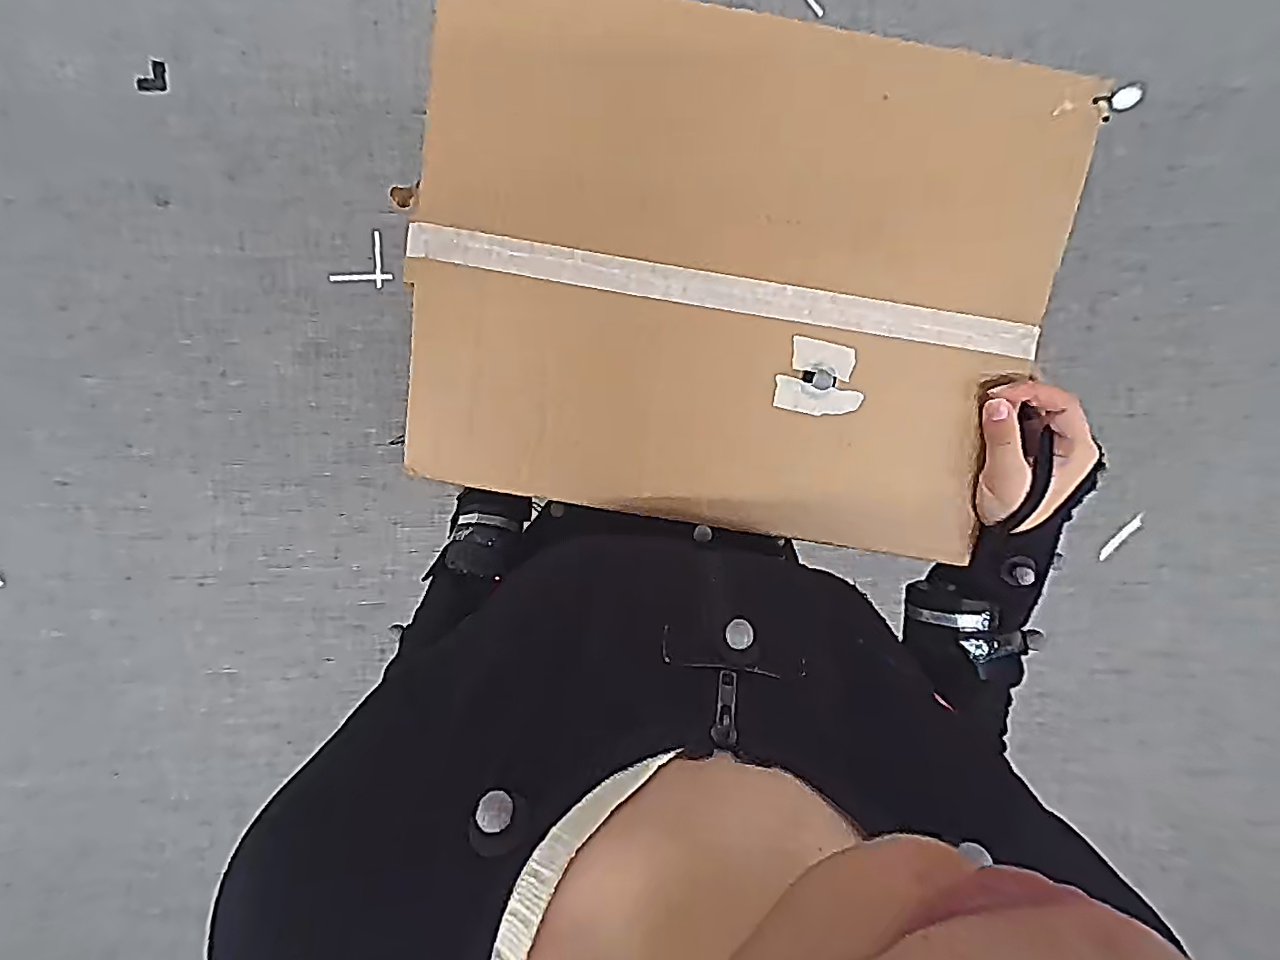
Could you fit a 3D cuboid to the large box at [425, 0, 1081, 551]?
[{"bbox_3d":[0.059,-0.149,0.506,0.408,0.320,0.320,8,102,-3],"label":"large box"}]
